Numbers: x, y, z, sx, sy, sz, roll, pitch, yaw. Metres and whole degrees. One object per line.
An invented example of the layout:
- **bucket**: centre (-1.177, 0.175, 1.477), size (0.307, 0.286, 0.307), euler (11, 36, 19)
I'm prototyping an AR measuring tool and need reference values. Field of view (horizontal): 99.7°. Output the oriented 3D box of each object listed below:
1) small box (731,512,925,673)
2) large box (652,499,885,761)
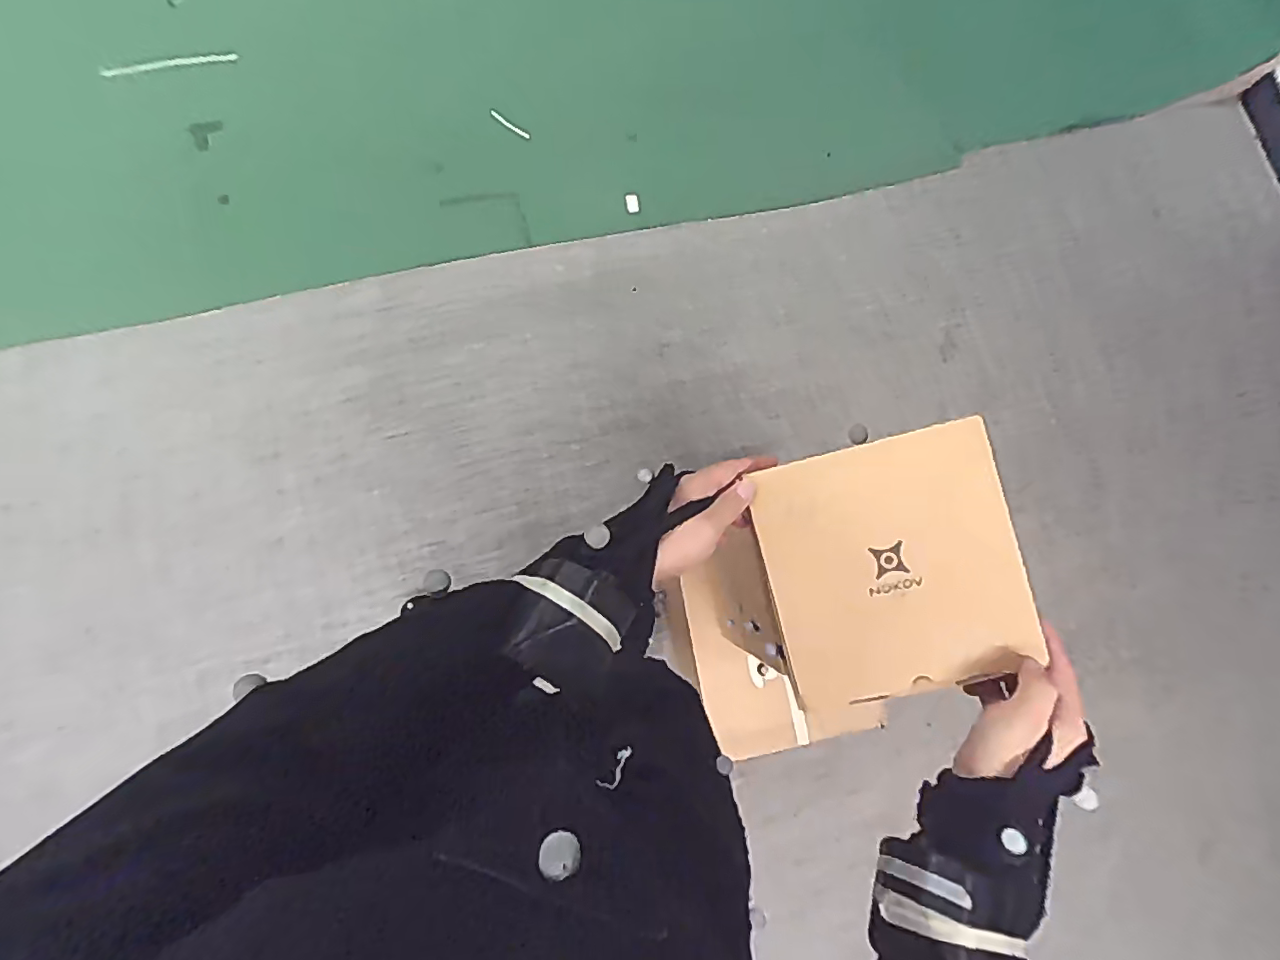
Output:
- **small box**: centre (0.225, 0.137, 0.698), size (0.179, 0.176, 0.168), euler (-7, 85, -7)
- **large box**: centre (0.226, 0.272, 1.091), size (0.320, 0.320, 0.408), euler (-10, 84, -5)
